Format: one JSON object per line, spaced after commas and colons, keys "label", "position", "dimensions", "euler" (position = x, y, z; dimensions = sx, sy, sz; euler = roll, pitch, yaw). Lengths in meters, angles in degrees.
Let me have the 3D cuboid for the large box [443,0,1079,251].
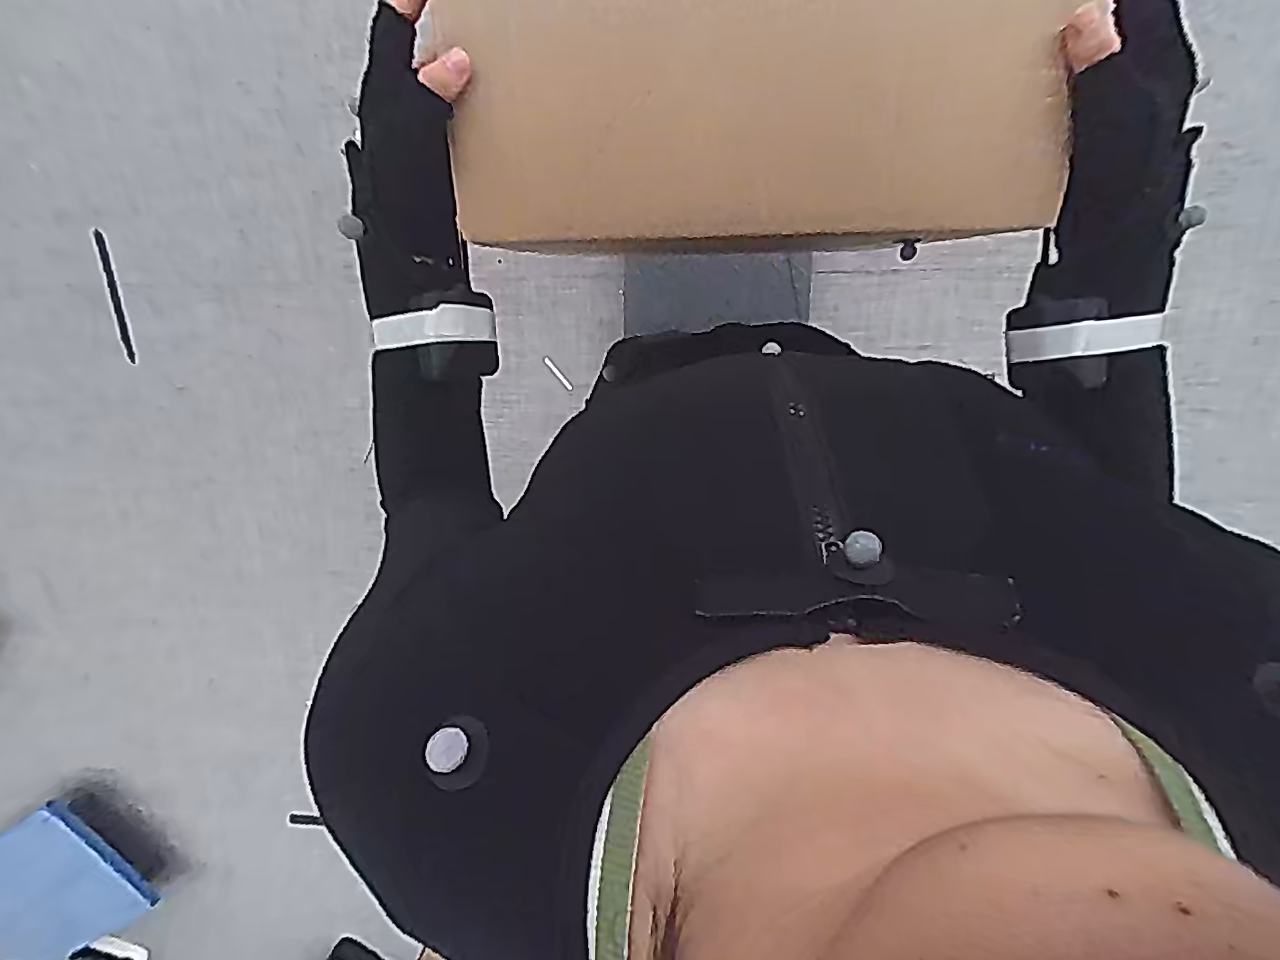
{"label": "large box", "position": [0.079, -0.374, 0.468], "dimensions": [0.408, 0.320, 0.320], "euler": [-1, 110, 3]}
